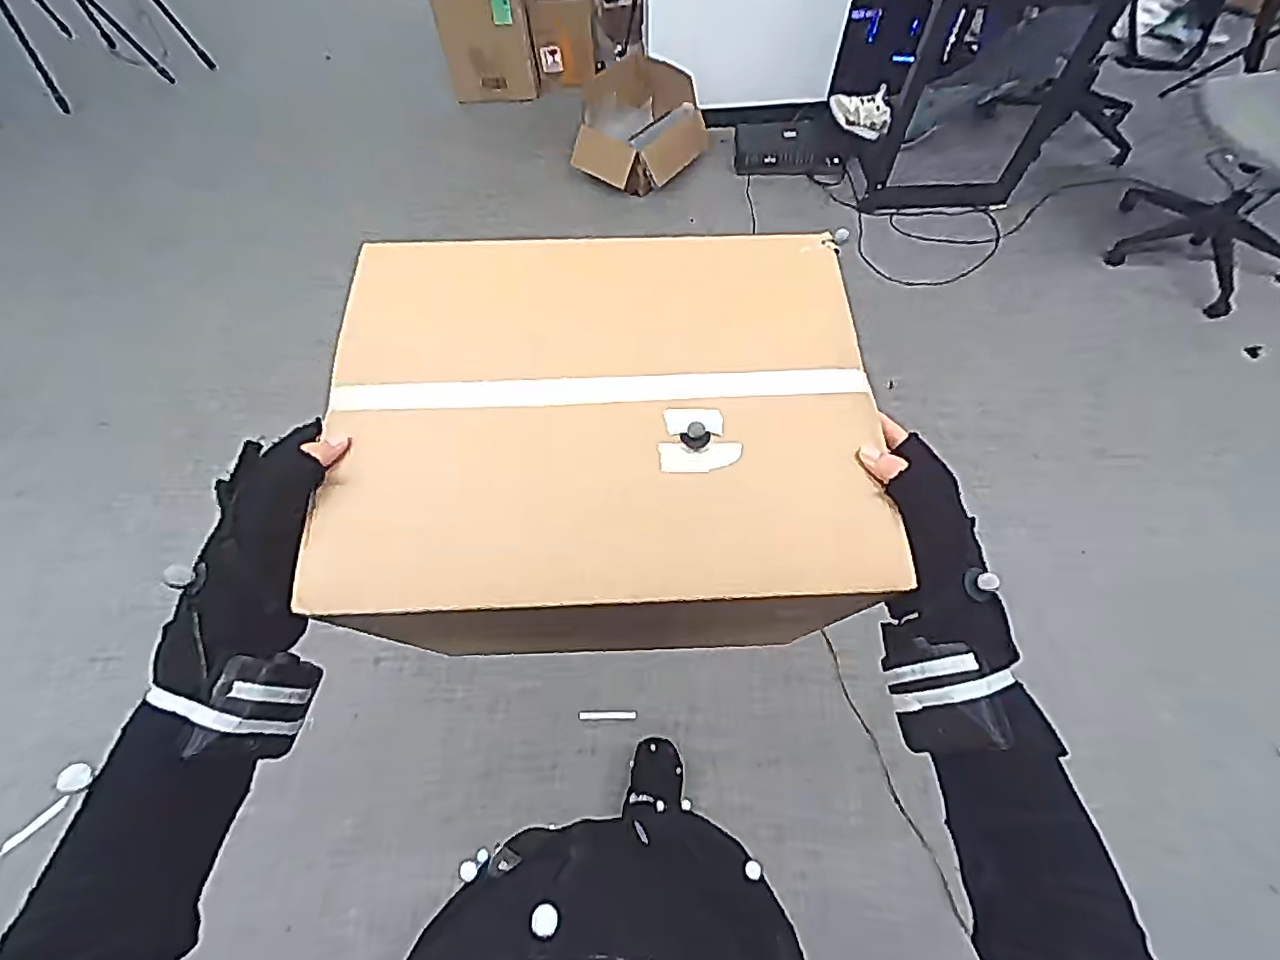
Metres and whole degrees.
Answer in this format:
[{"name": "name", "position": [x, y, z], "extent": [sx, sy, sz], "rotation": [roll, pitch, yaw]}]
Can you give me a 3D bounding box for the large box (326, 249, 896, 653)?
[{"name": "large box", "position": [-0.027, -0.005, 0.566], "extent": [0.408, 0.320, 0.320], "rotation": [-2, 67, -2]}]
